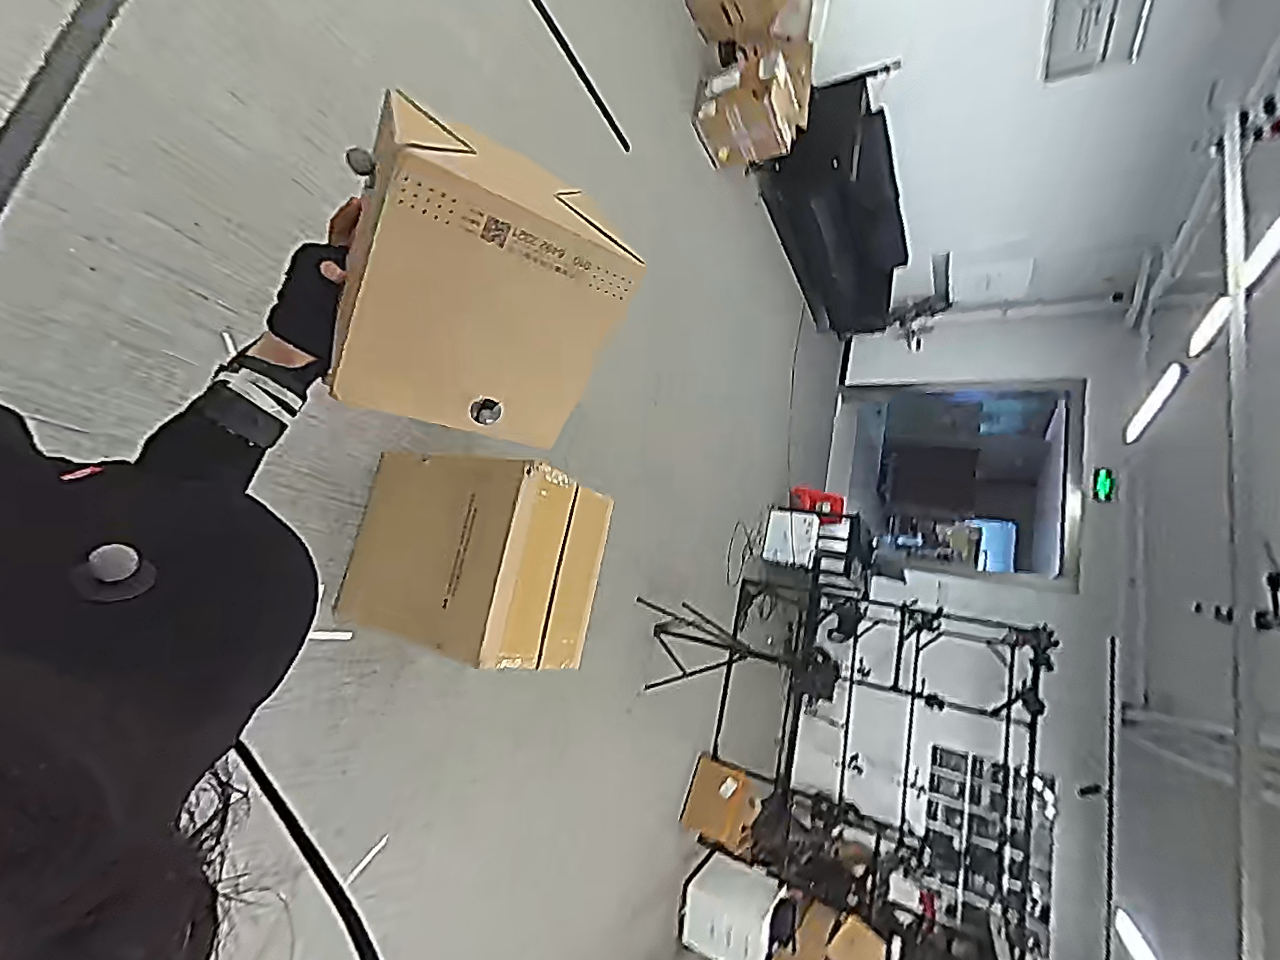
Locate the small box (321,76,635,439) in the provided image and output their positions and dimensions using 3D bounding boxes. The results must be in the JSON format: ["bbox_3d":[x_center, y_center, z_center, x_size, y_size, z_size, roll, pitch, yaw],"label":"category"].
[{"bbox_3d":[-0.127,-0.163,0.410,0.168,0.179,0.176,13,126,-35],"label":"small box"}]
